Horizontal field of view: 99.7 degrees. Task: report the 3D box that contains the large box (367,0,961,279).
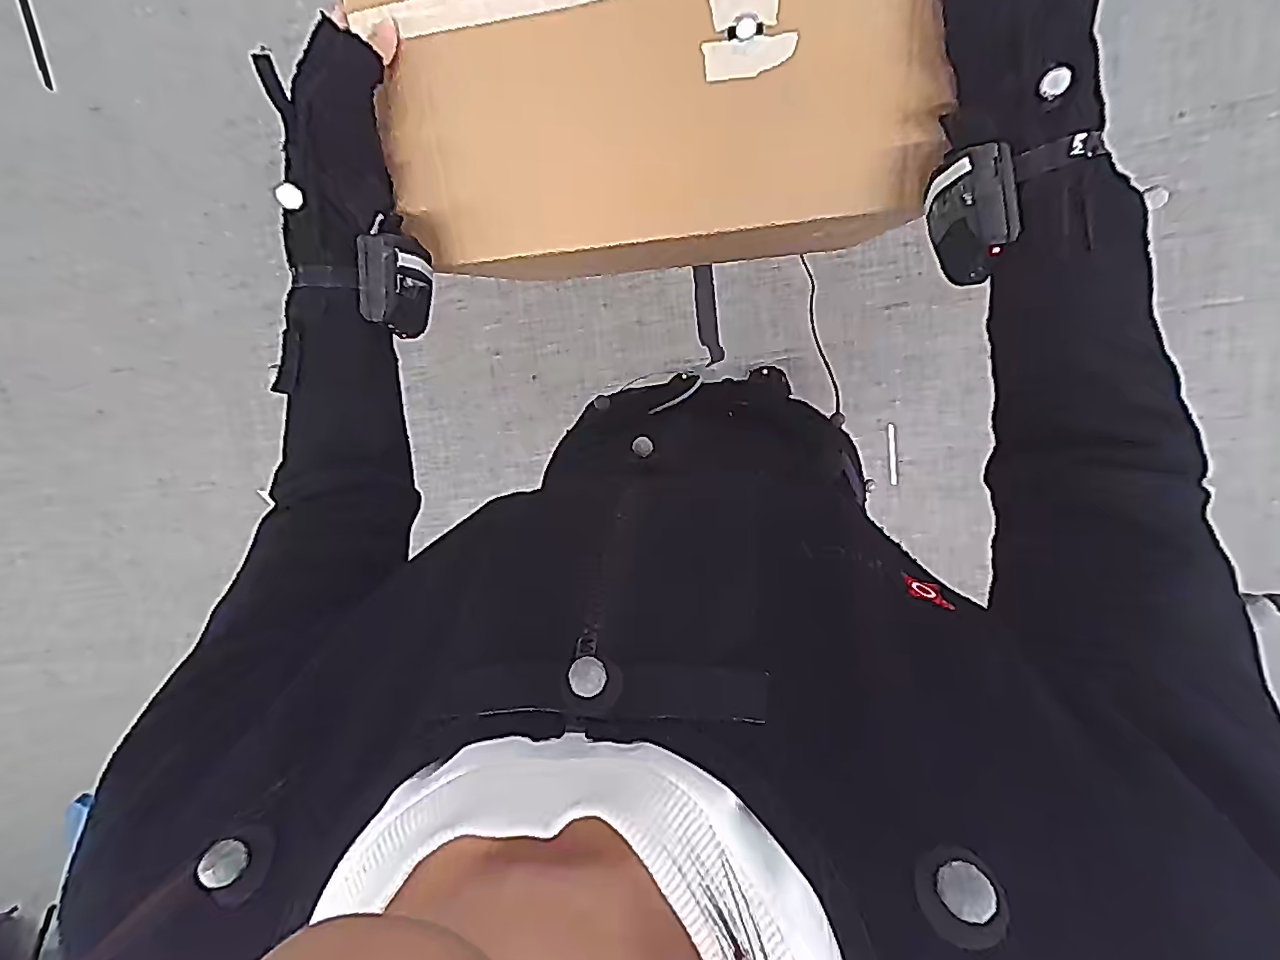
[{"bbox_3d":[0.020,-0.378,0.498,0.408,0.320,0.320,-4,108,9],"label":"large box"}]
